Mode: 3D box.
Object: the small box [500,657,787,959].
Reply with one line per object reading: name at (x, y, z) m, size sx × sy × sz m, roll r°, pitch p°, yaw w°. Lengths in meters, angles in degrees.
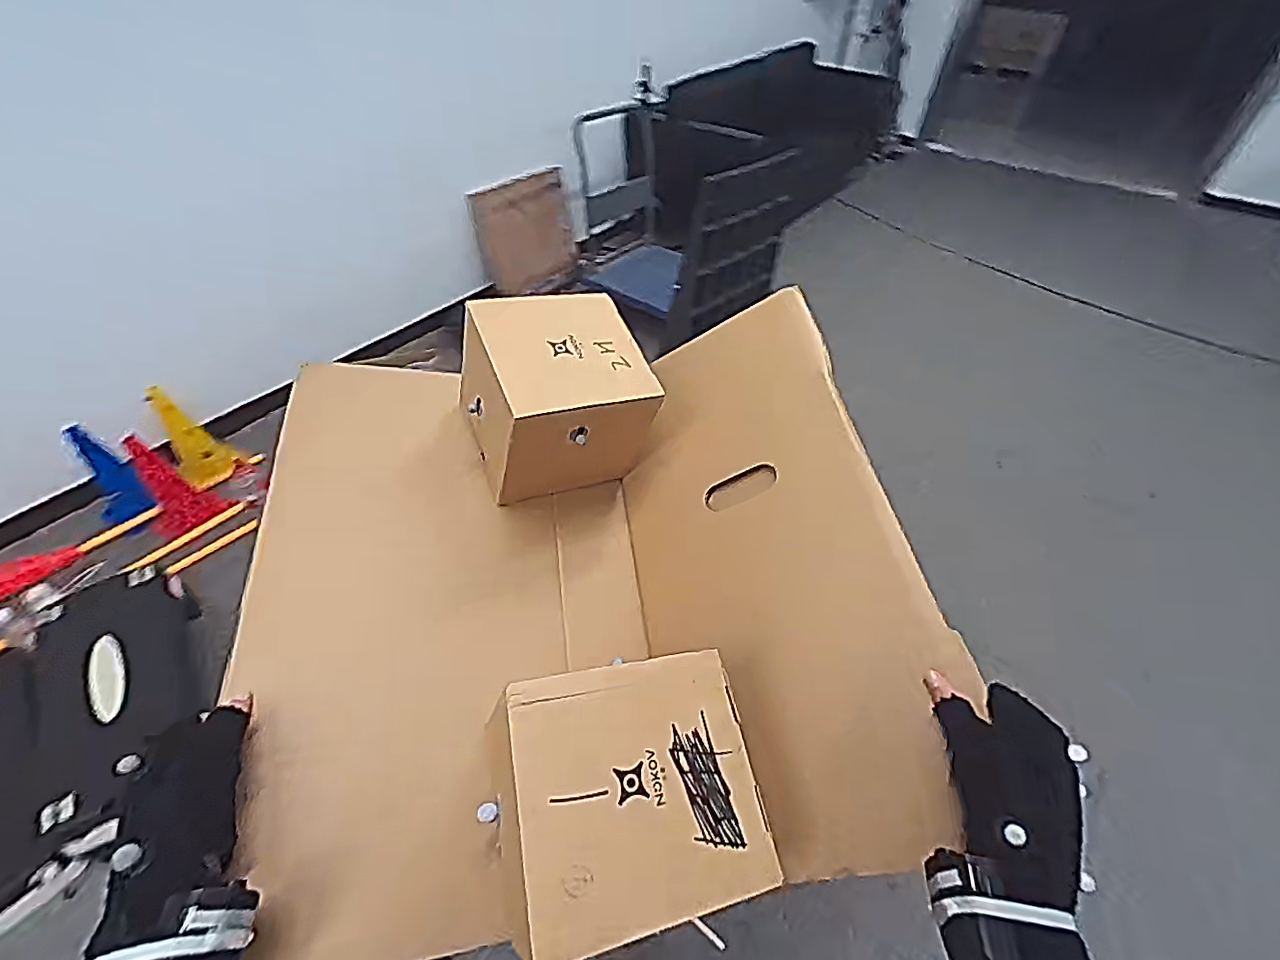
small box at (-0.015, 0.258, 0.448) m, size 0.179 × 0.176 × 0.168 m, roll -2°, pitch 59°, yaw -20°
